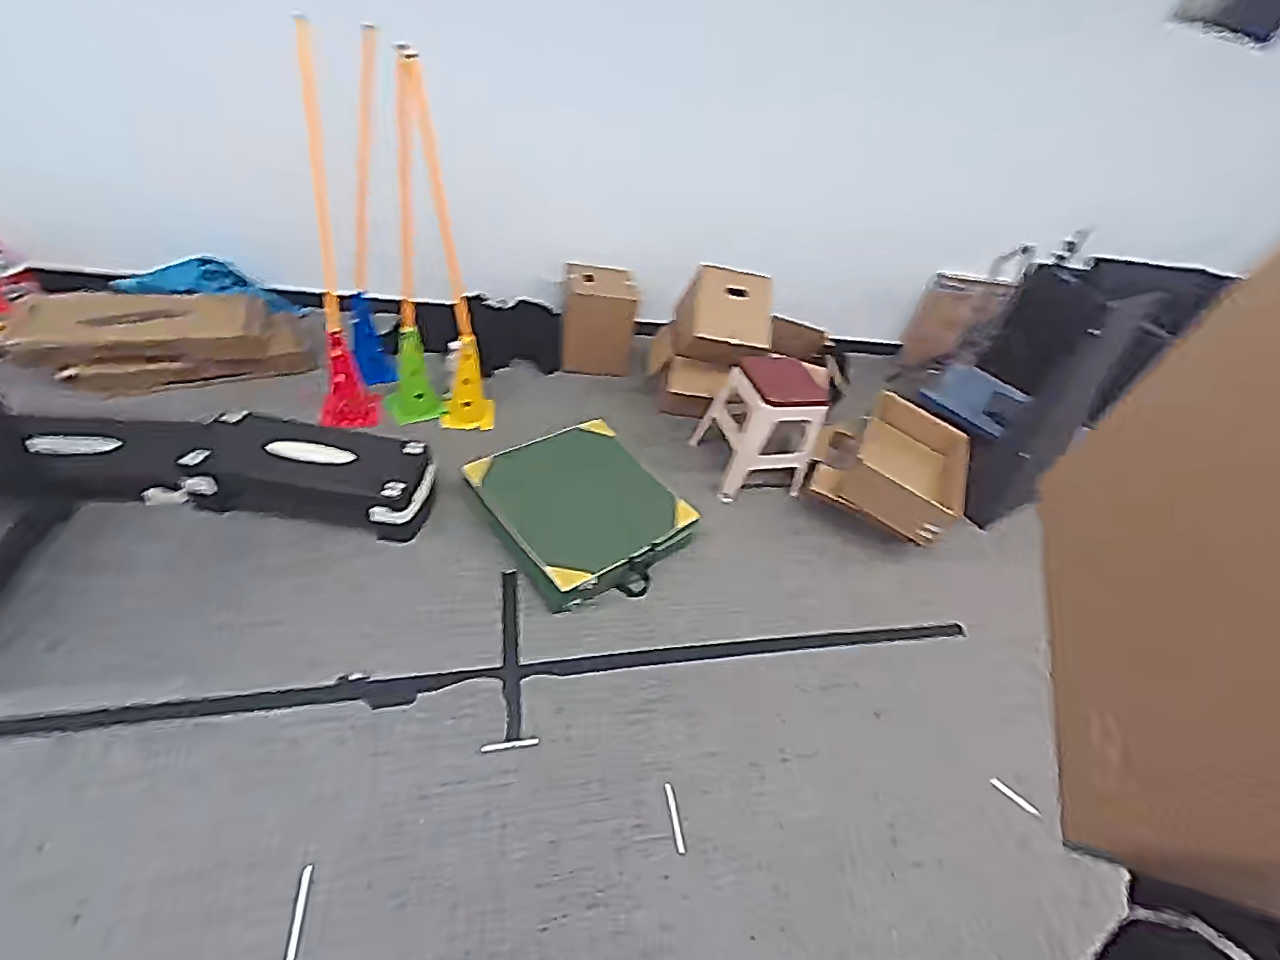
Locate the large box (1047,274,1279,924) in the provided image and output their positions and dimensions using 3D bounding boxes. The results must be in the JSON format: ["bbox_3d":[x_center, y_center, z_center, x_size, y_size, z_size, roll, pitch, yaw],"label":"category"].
[{"bbox_3d":[0.463,0.072,0.254,0.320,0.408,0.320,12,64,16],"label":"large box"}]
